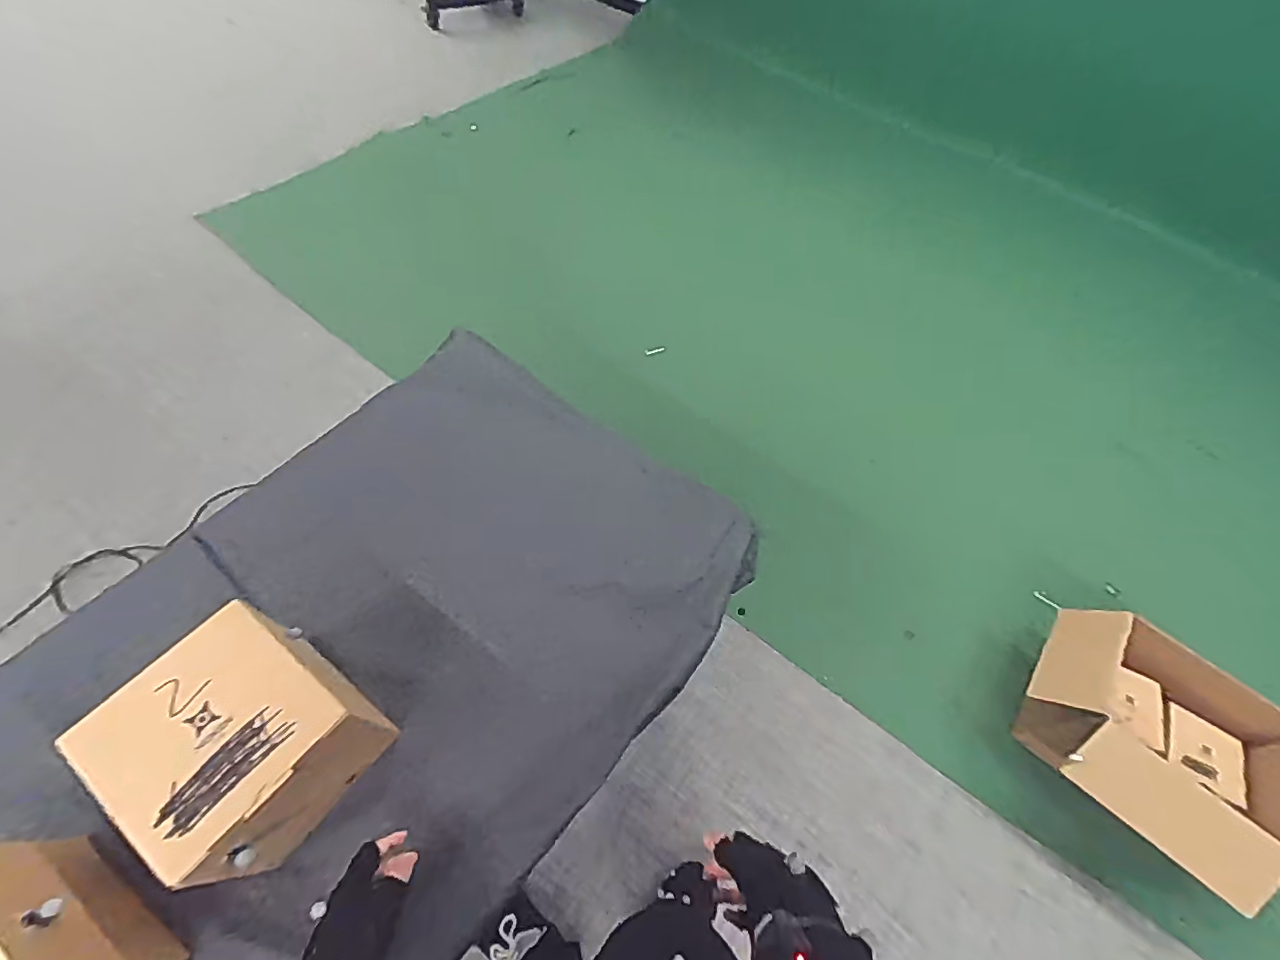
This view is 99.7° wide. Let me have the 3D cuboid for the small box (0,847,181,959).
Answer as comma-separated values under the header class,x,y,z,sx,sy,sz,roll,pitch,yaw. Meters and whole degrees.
class,x,y,z,sx,sy,sz,roll,pitch,yaw
small box,-0.544,0.431,0.437,0.179,0.176,0.168,33,60,13
